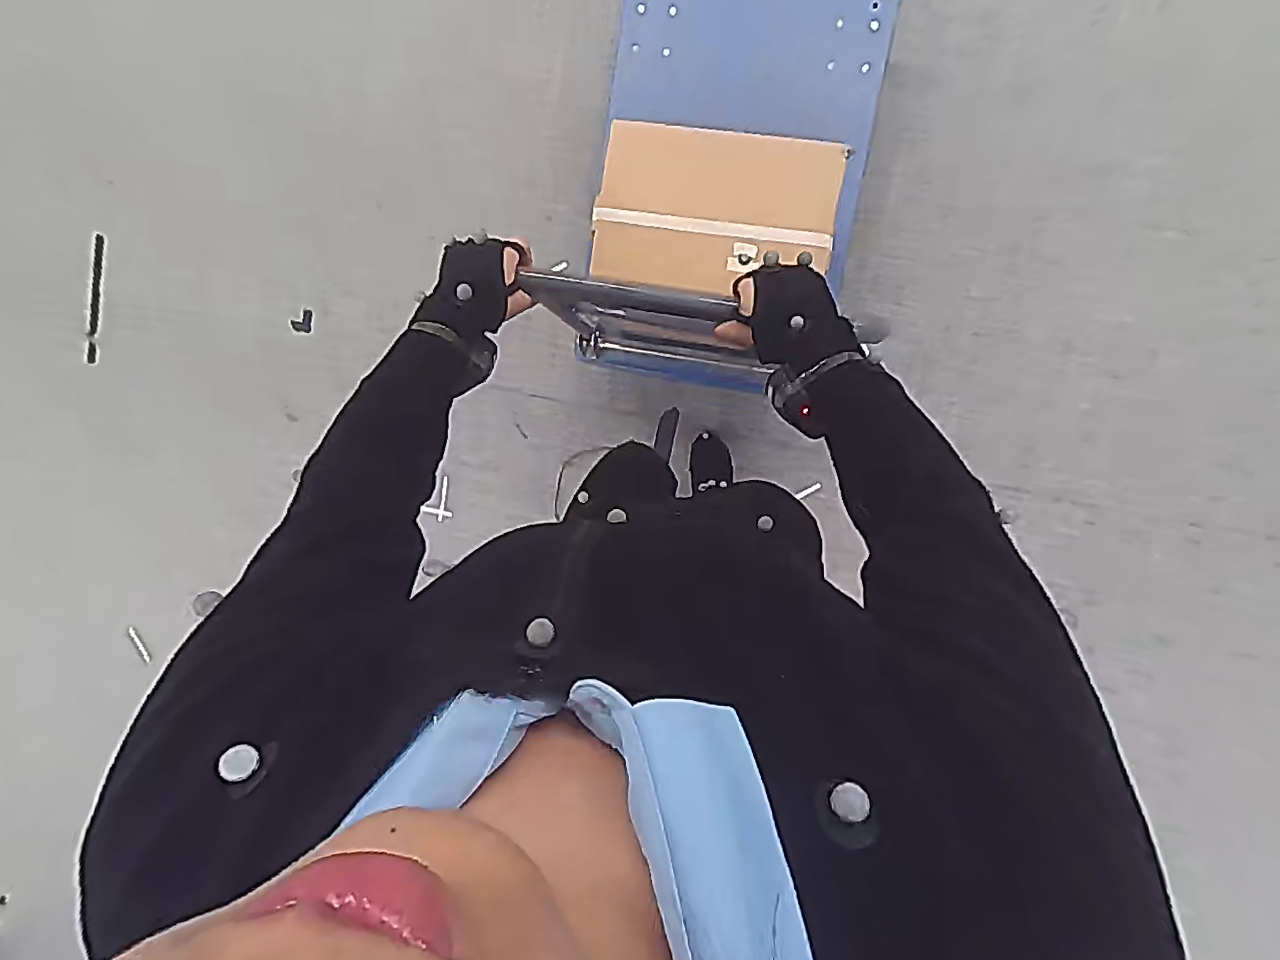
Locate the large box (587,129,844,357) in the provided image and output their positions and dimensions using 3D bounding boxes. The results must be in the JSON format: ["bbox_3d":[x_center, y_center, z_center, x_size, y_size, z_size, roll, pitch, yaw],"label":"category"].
[{"bbox_3d":[0.138,-0.441,1.077,0.408,0.320,0.320,11,99,6],"label":"large box"}]
